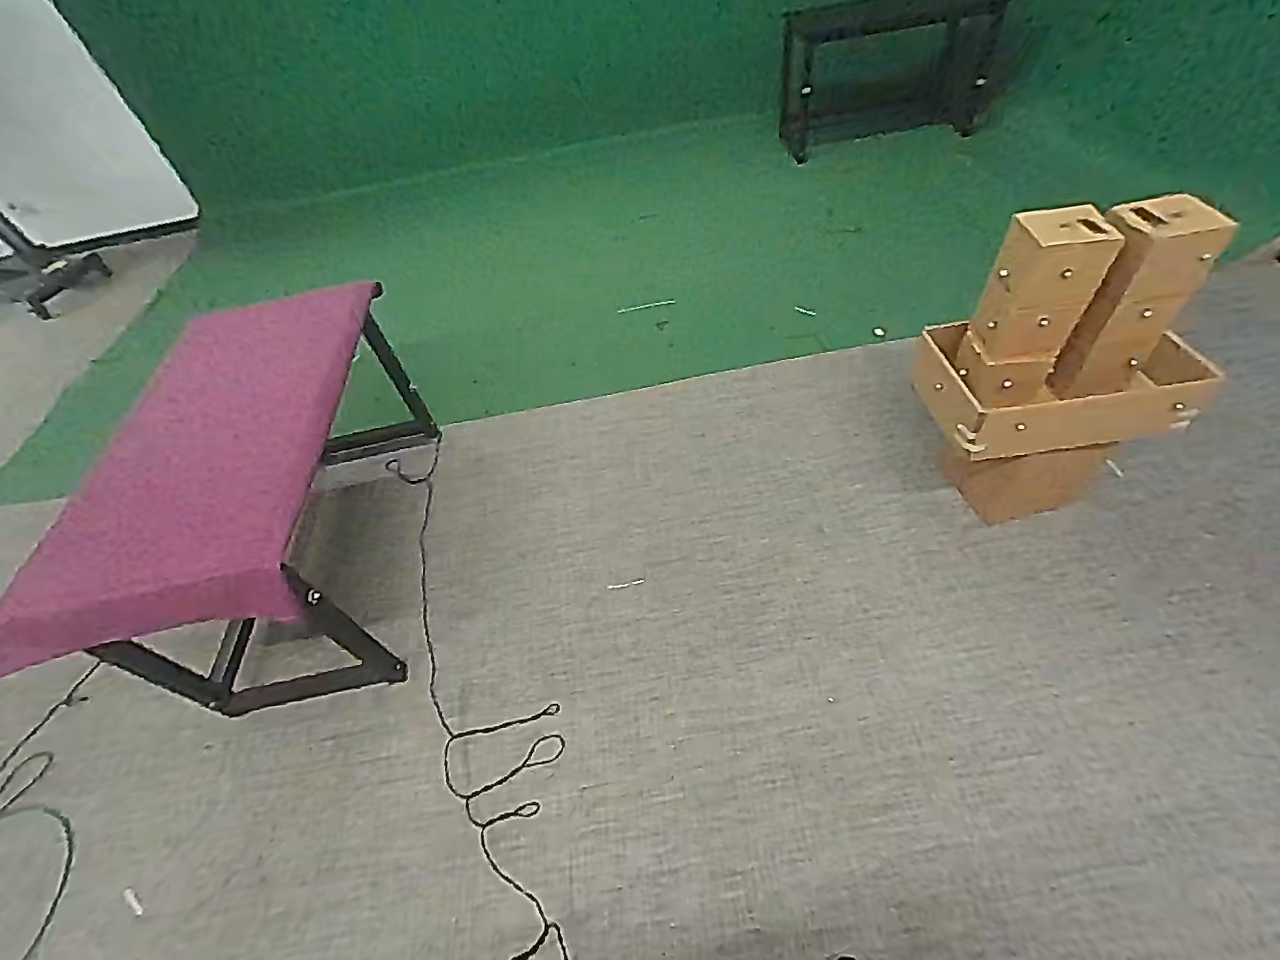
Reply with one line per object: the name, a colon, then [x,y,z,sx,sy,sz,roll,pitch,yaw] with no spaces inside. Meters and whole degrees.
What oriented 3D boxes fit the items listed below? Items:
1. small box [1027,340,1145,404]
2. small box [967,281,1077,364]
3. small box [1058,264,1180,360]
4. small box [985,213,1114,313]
small box: [1.282,-0.345,1.572,0.179,0.176,0.168,-9,49,3]
small box: [1.023,-0.432,1.472,0.179,0.176,0.168,-2,51,5]
small box: [1.256,-0.447,1.450,0.179,0.176,0.168,-11,50,4]
small box: [1.006,-0.537,1.347,0.179,0.176,0.168,-3,50,6]
